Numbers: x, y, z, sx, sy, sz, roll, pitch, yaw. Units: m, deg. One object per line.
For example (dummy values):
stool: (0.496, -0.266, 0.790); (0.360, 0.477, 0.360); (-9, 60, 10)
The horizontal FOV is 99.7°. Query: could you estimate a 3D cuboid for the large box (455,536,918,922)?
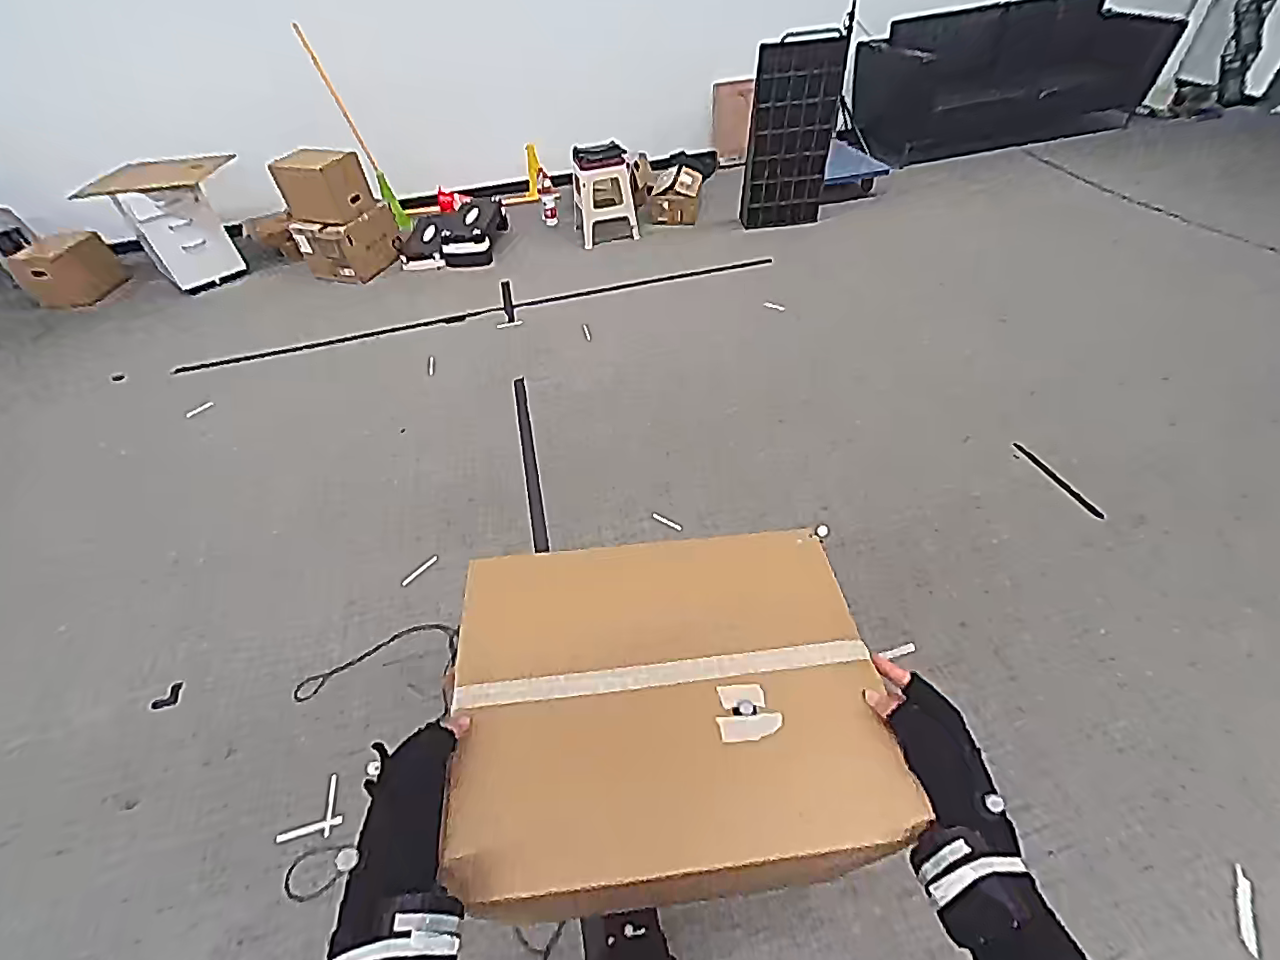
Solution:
large box: (0.024, 0.299, 0.655); (0.408, 0.320, 0.320); (-5, 49, -5)
